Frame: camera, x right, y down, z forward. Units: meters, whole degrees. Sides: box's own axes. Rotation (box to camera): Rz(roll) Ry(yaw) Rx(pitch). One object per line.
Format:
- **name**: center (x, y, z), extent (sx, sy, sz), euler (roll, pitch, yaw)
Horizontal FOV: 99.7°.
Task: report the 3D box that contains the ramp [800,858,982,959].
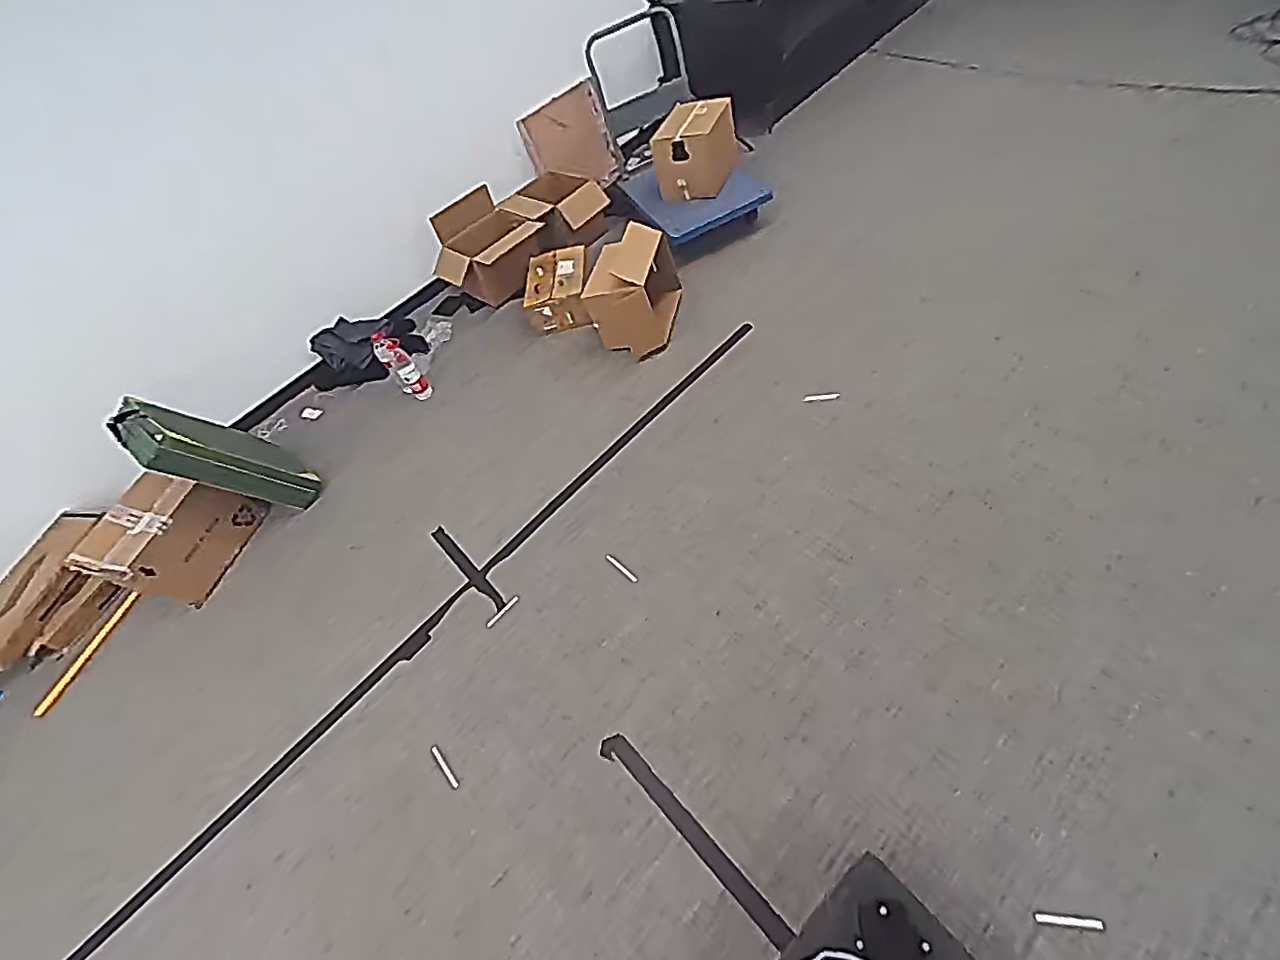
- **ramp**: center (0.662, 1.213, 0.838), extent (0.509, 0.206, 0.991), euler (-44, 53, -18)
